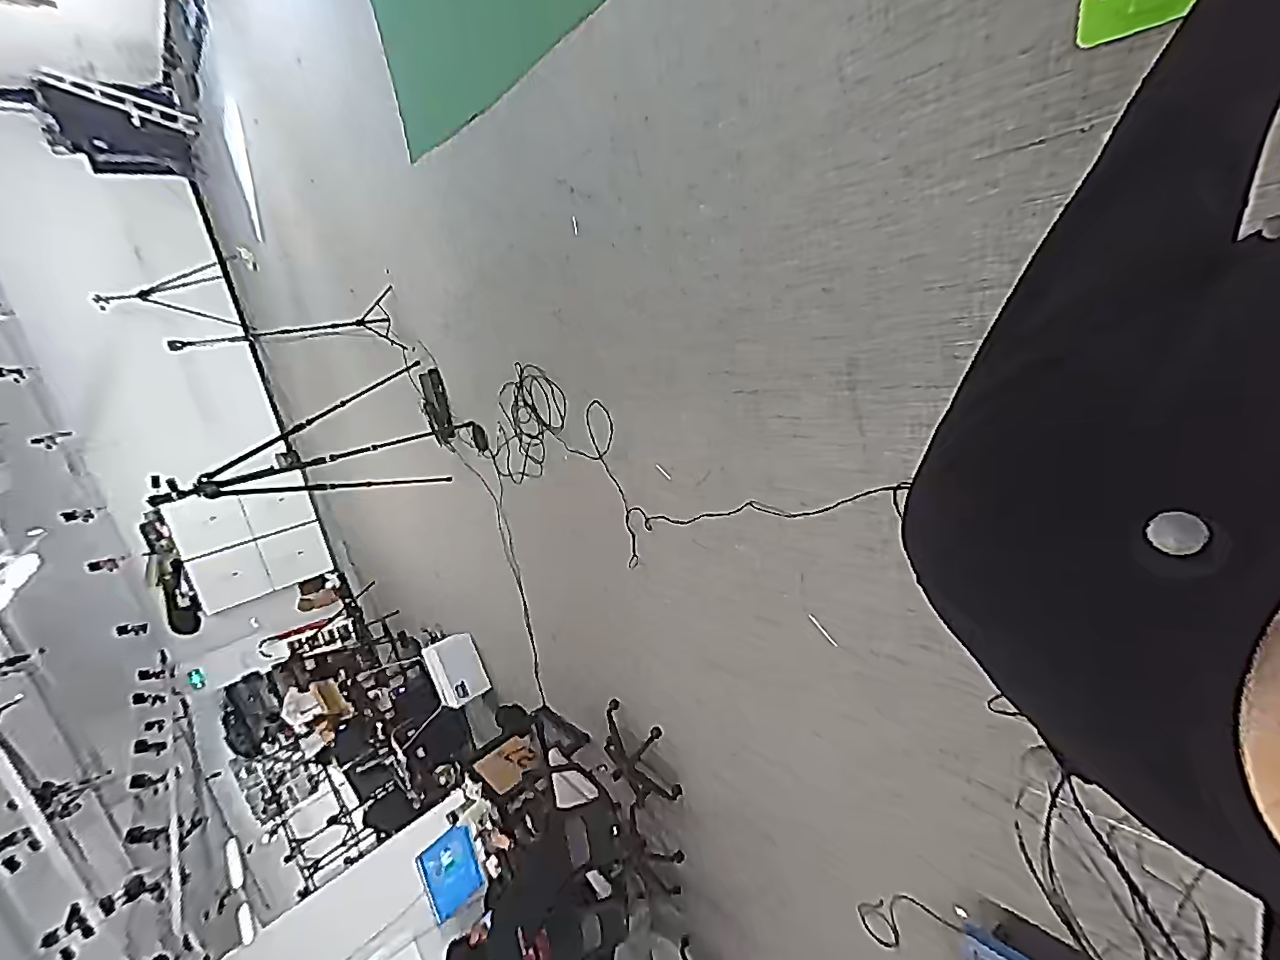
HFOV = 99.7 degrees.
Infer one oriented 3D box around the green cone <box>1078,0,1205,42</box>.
[{"bbox_3d":[0.770,-0.860,0.833,0.200,0.368,0.202,11,117,47],"label":"green cone"}]
